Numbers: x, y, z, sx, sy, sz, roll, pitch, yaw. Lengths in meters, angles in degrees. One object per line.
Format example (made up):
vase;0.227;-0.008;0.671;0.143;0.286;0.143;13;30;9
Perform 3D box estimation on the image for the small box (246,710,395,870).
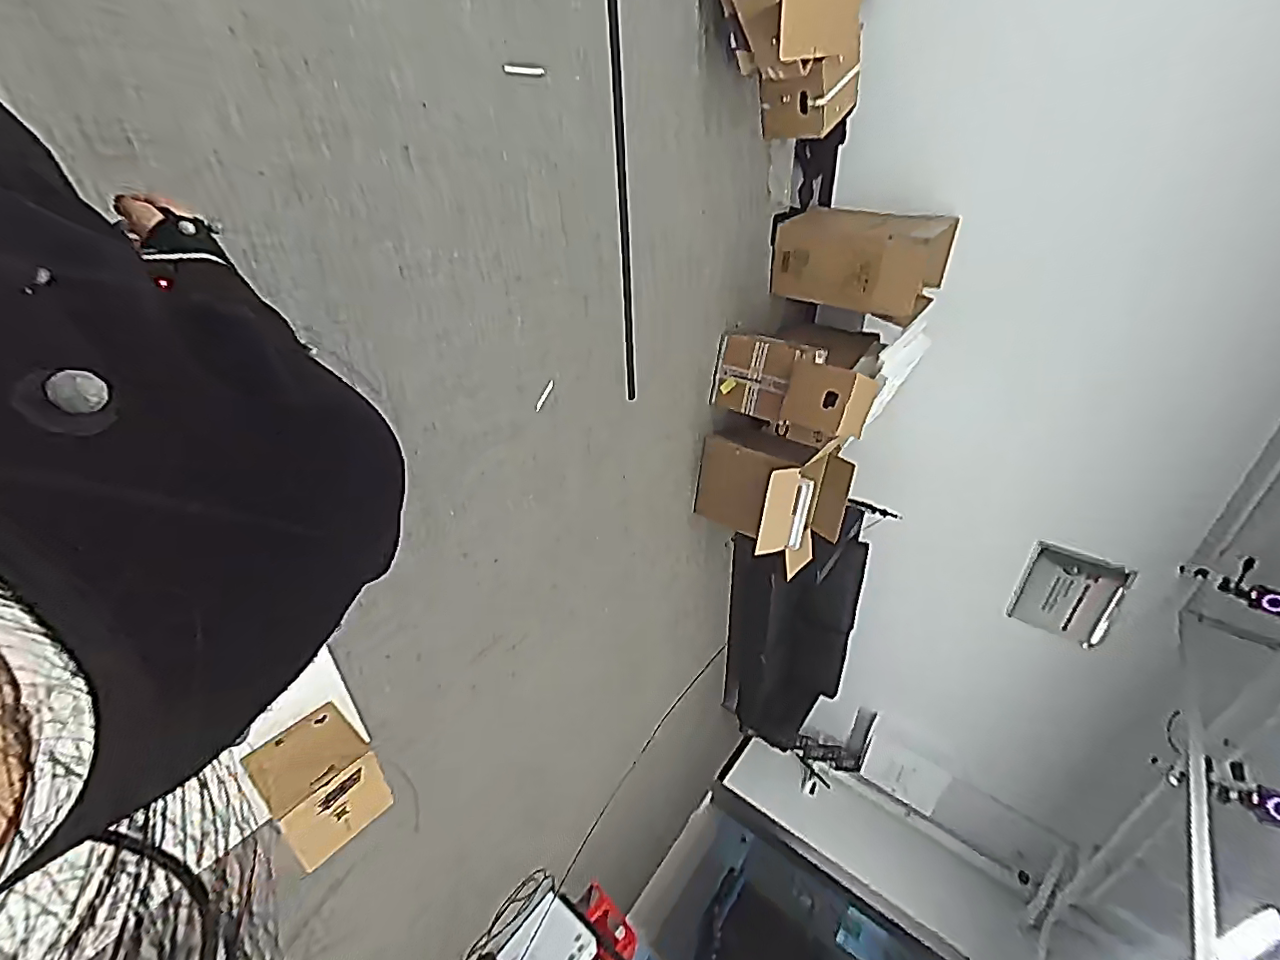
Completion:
small box;-0.599;0.568;1.018;0.168;0.176;0.179;-32;133;-42
